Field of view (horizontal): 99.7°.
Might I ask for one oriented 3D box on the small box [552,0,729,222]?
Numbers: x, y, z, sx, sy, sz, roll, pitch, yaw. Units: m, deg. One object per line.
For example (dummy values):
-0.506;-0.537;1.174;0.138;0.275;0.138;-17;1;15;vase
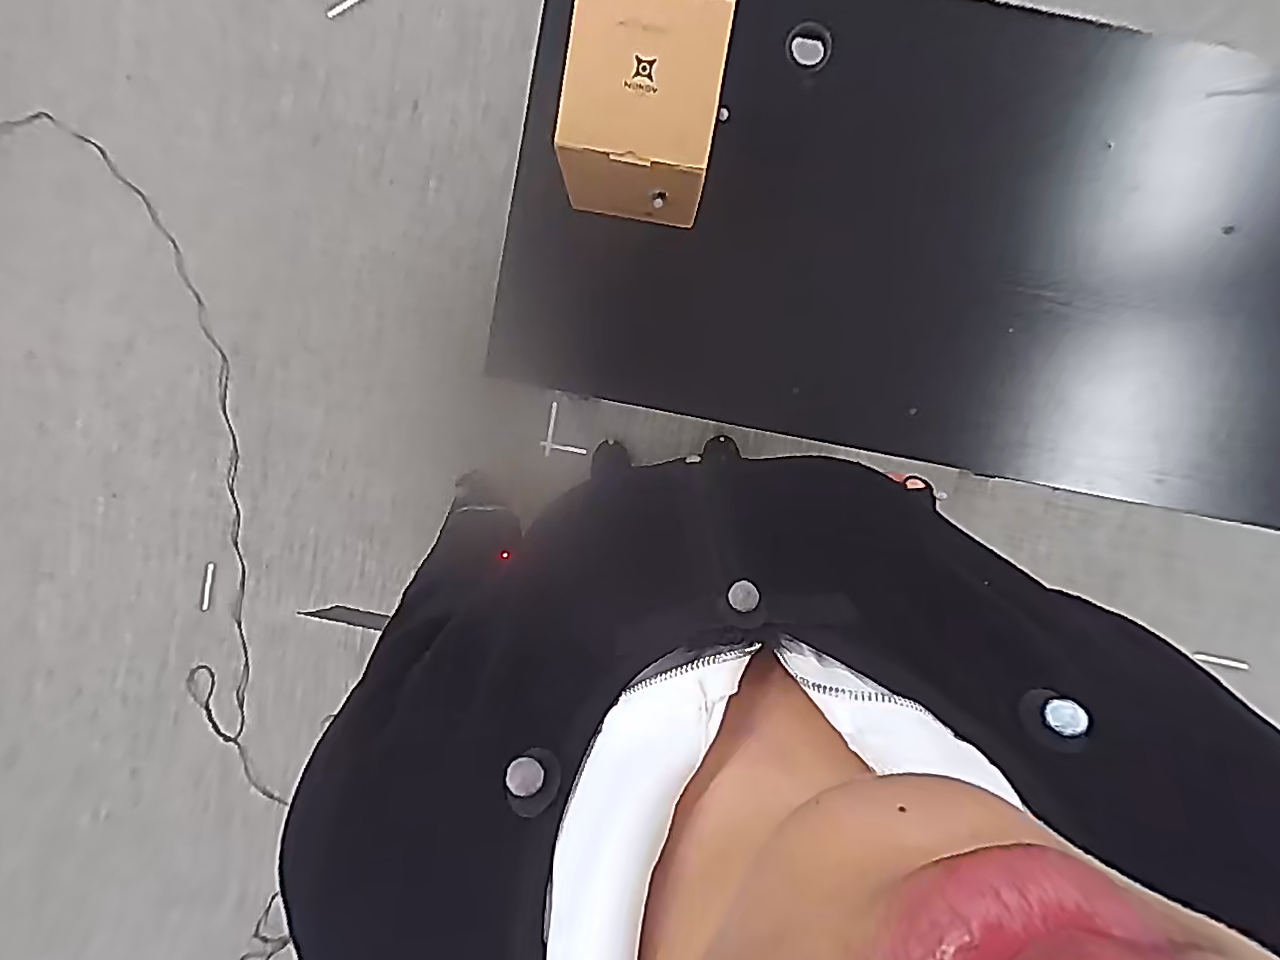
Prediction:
-0.001;-0.435;0.647;0.168;0.176;0.179;9;95;-2;small box
